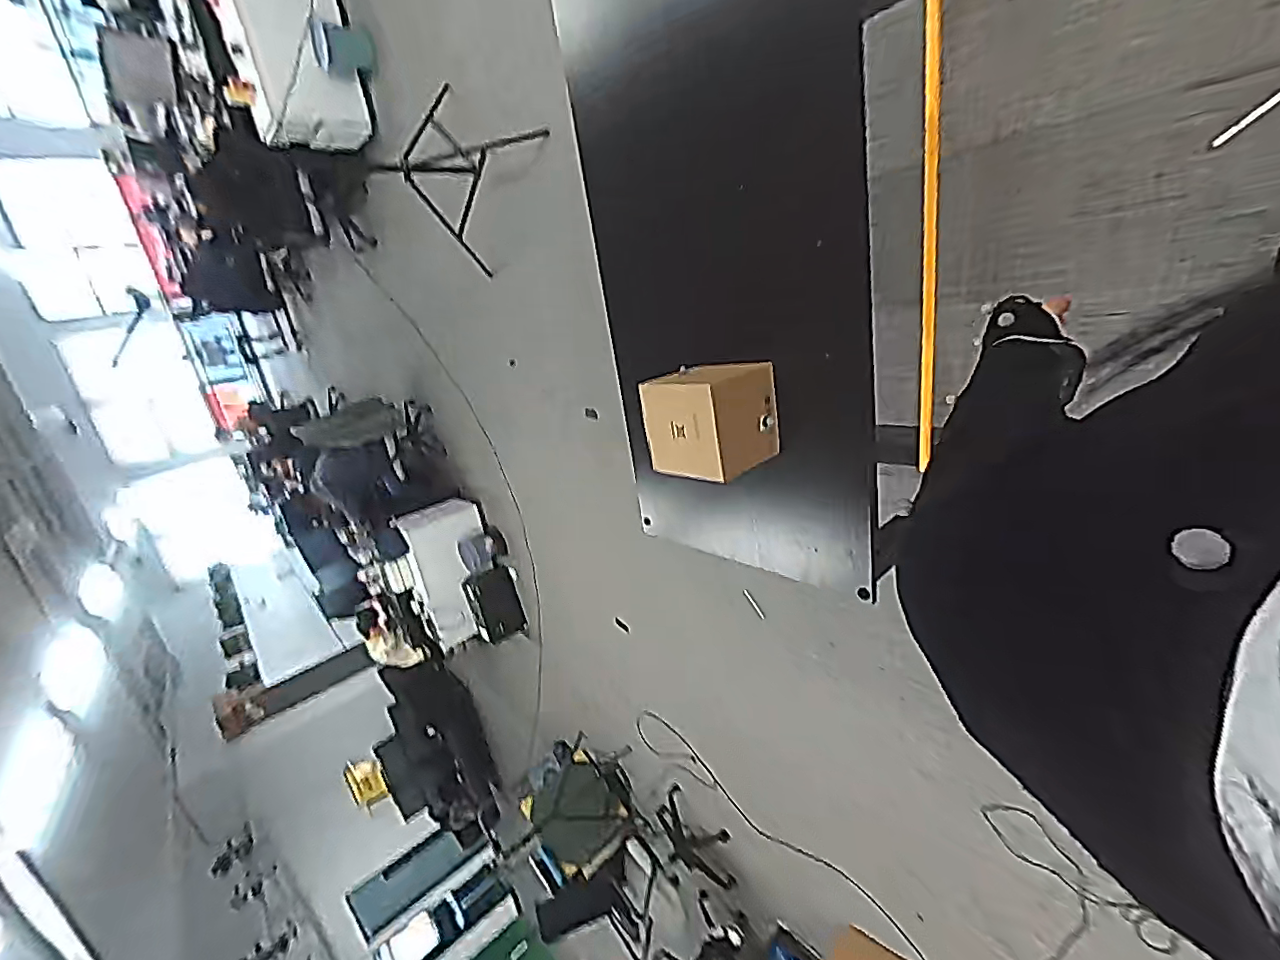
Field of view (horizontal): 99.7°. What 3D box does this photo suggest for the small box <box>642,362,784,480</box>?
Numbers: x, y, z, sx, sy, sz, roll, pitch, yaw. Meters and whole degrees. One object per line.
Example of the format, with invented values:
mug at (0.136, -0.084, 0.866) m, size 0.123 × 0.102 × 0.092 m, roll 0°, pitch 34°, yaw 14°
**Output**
small box at (0.133, -0.112, 0.976) m, size 0.179 × 0.176 × 0.168 m, roll 9°, pitch 117°, yaw 49°
